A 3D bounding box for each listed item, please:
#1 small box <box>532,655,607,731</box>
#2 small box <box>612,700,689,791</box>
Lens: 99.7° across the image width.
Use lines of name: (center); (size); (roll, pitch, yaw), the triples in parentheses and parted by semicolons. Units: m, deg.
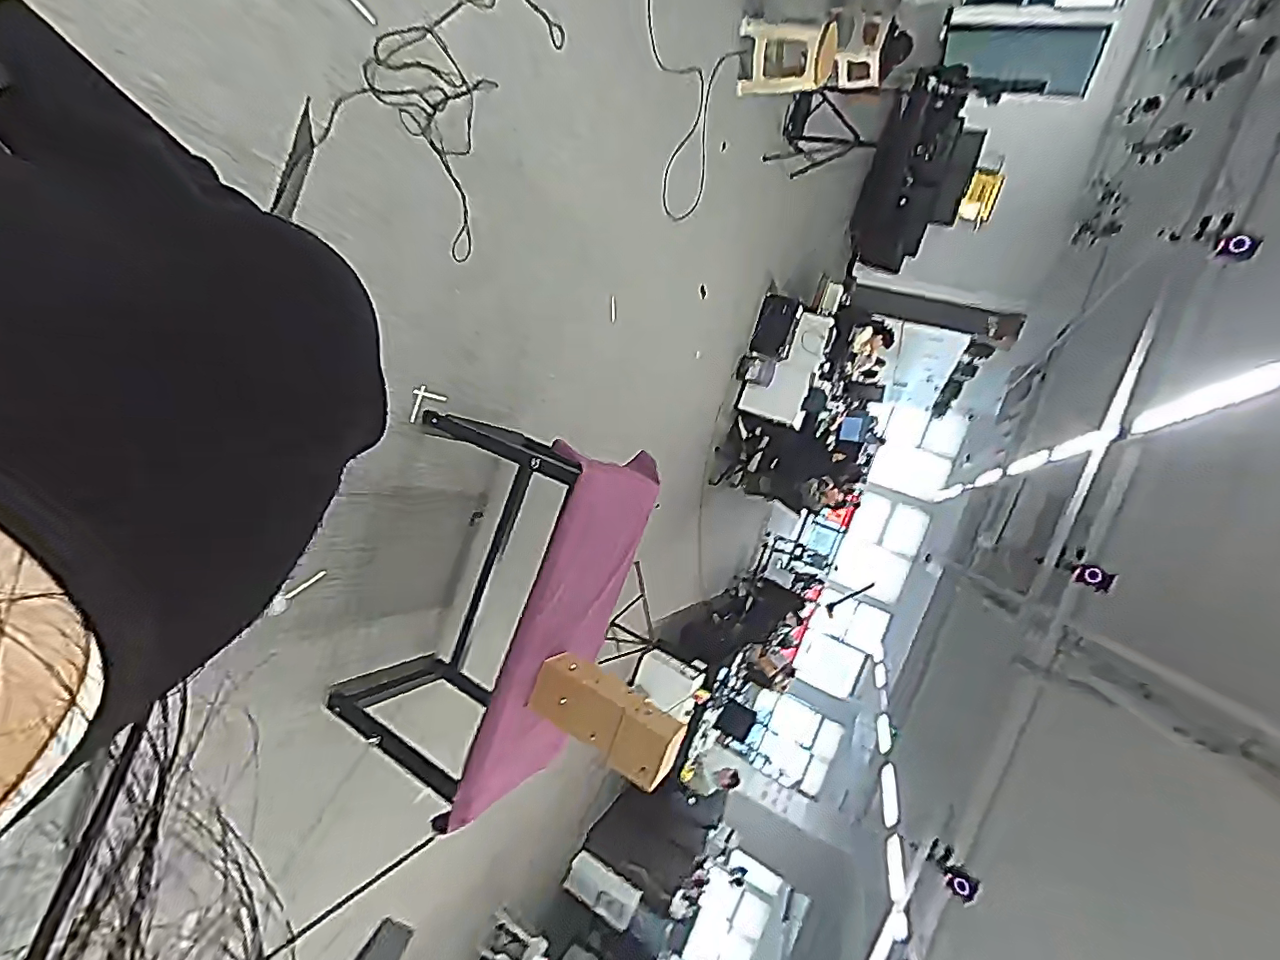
small box: (-0.245, 0.720, 1.860); (0.168, 0.176, 0.179); (17, 95, -66)
small box: (0.031, 0.841, 1.727); (0.168, 0.176, 0.179); (16, 95, -67)
